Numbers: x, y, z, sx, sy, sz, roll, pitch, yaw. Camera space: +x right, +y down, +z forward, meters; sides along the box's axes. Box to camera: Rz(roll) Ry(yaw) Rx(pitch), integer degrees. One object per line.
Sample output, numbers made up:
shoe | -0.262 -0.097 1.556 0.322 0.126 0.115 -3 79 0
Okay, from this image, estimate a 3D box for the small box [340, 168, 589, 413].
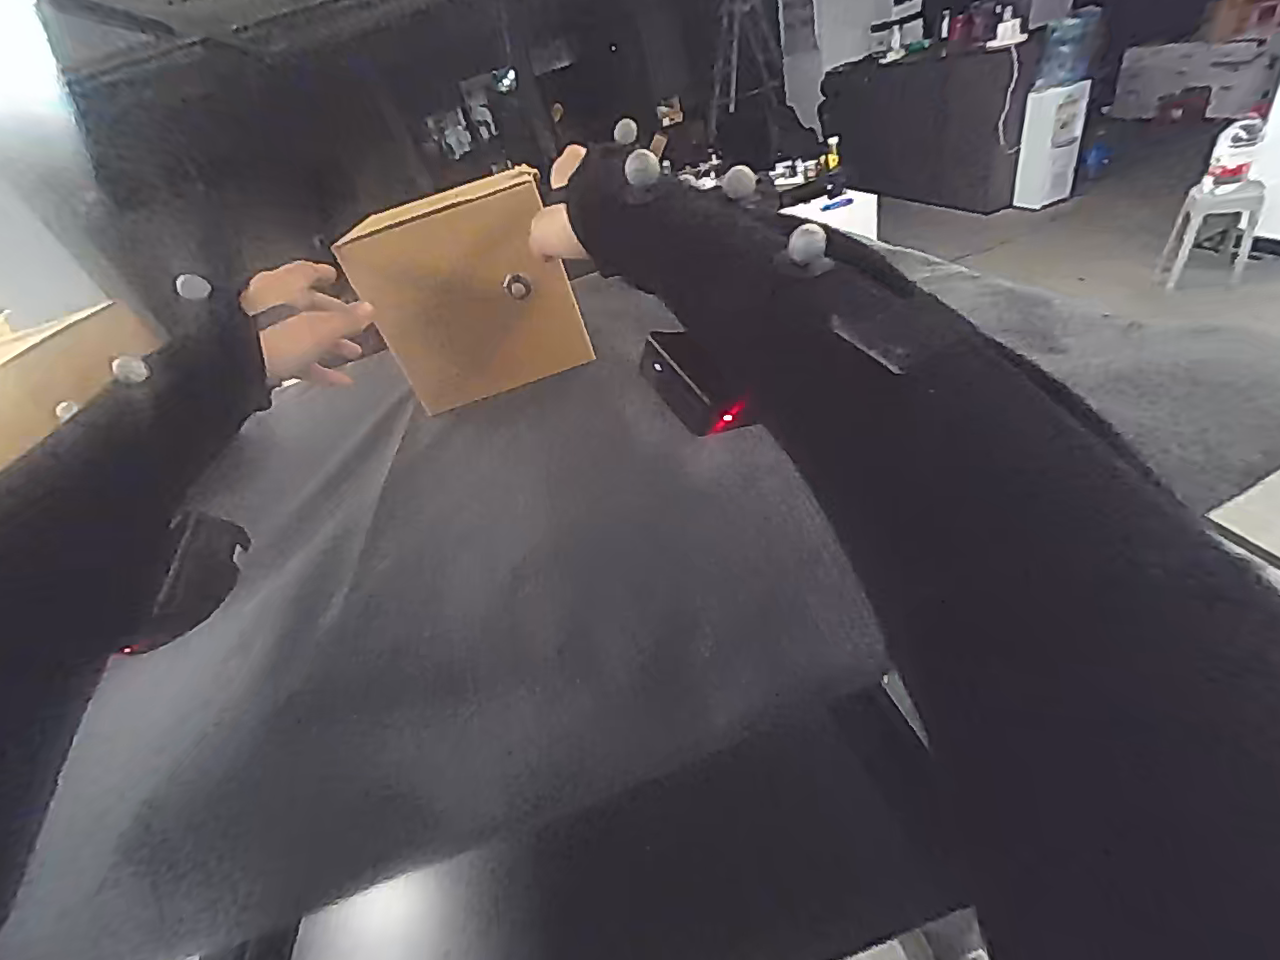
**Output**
small box | -0.157 -0.194 0.549 0.179 0.176 0.168 -18 35 -1
